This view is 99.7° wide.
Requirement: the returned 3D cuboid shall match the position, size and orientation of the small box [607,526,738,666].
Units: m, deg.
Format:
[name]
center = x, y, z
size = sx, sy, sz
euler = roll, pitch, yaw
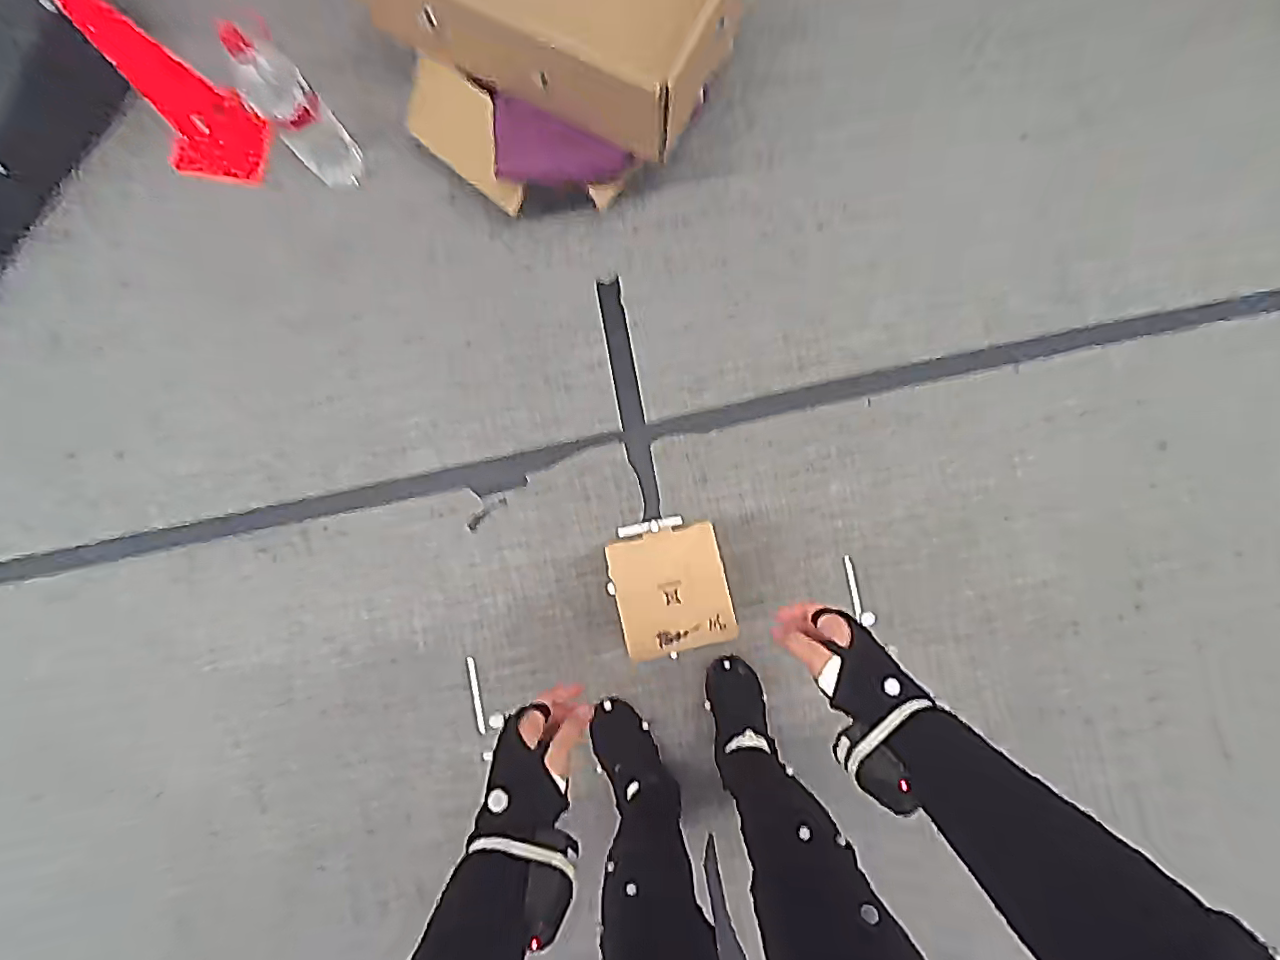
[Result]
[small box]
center = 0.046, 0.180, 0.878
size = 0.168, 0.176, 0.179
euler = -14, 84, -1
